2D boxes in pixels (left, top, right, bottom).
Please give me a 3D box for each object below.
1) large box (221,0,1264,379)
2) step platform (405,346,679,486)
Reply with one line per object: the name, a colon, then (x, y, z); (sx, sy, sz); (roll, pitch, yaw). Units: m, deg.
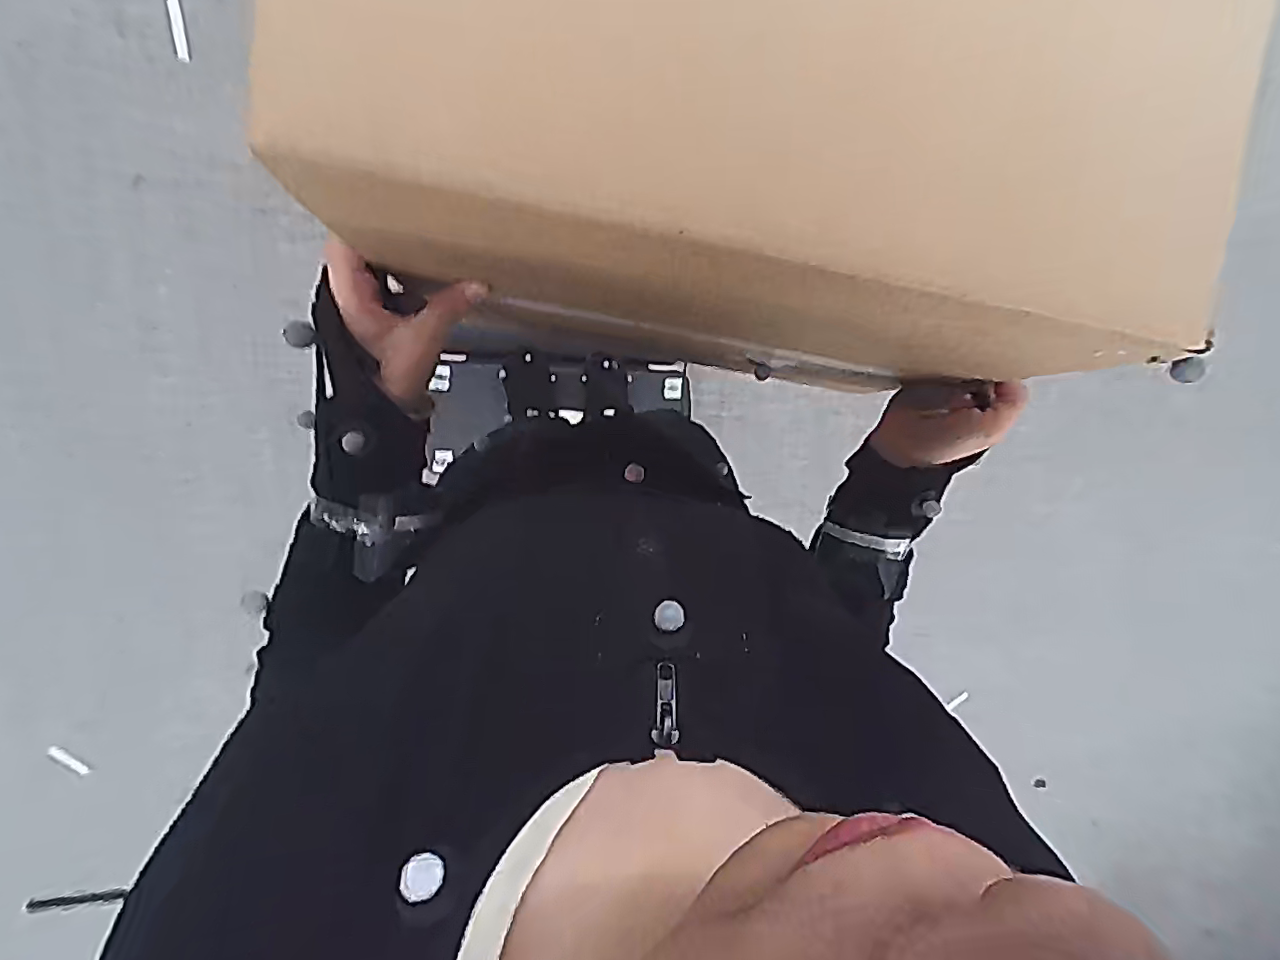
large box: (0.049, -0.257, 0.344); (0.408, 0.320, 0.320); (7, 97, -8)
step platform: (-0.241, -0.163, 1.411); (0.684, 0.204, 0.286); (5, 105, -11)
